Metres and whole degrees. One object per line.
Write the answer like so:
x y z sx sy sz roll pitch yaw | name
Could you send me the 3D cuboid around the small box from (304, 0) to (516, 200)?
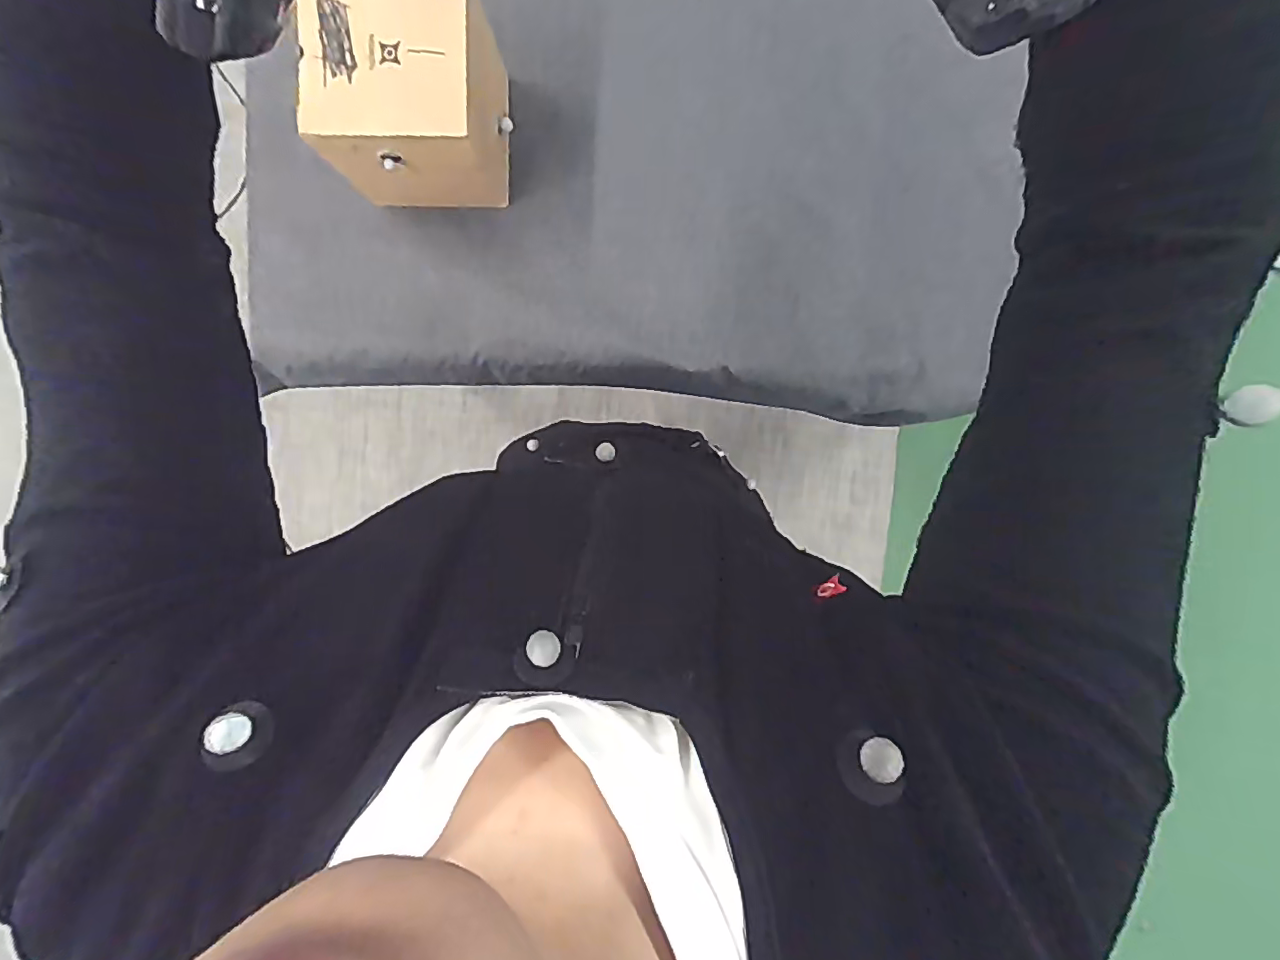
-0.252 -0.444 0.626 0.179 0.176 0.168 1 95 0 | small box
